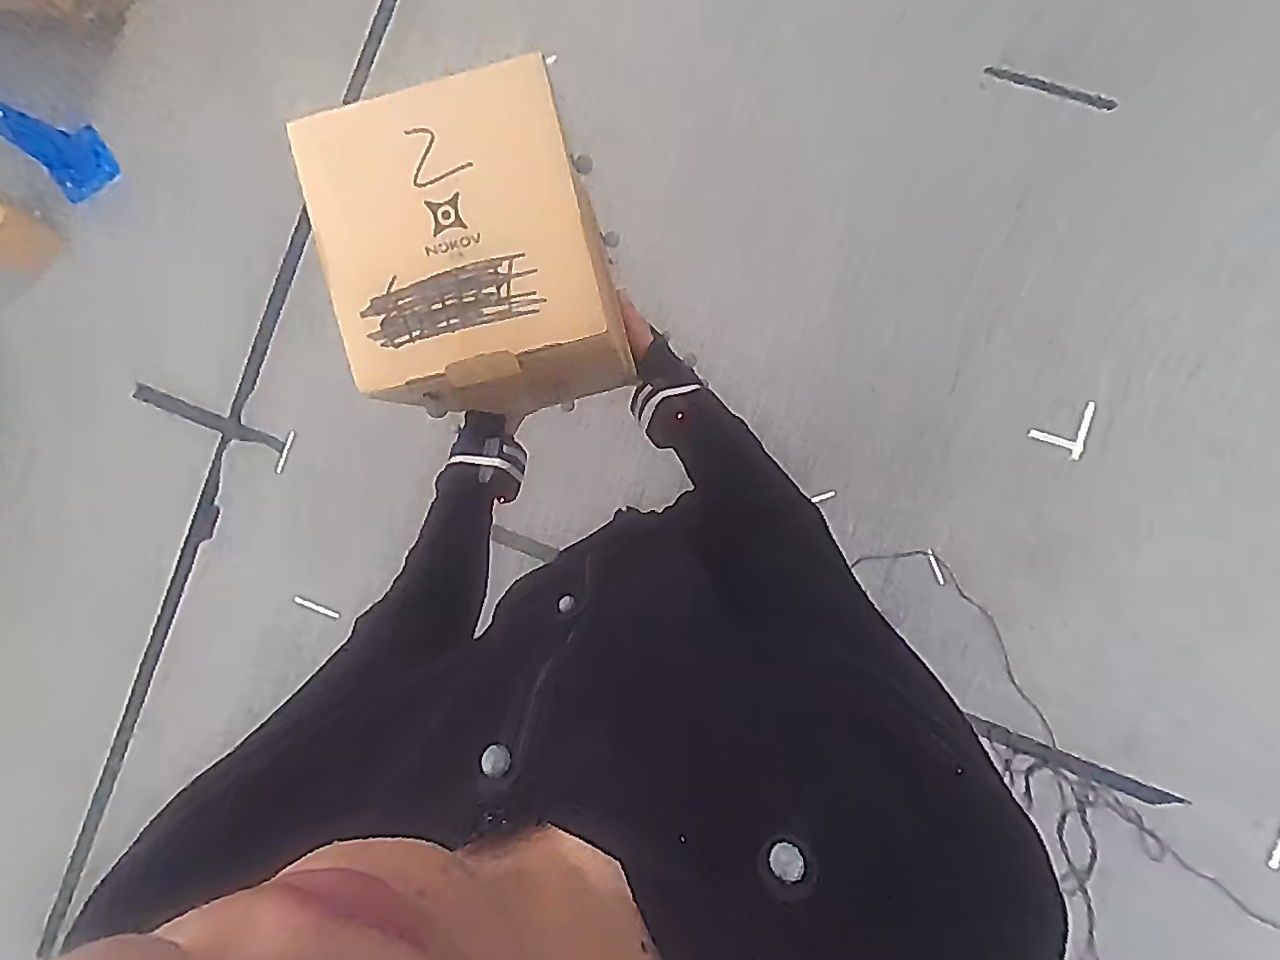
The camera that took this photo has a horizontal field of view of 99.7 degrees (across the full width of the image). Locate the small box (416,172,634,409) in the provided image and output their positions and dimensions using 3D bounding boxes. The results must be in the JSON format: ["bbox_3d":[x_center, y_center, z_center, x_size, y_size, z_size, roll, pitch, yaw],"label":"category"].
[{"bbox_3d":[-0.105,-0.182,0.573,0.168,0.176,0.179,-14,94,3],"label":"small box"}]
